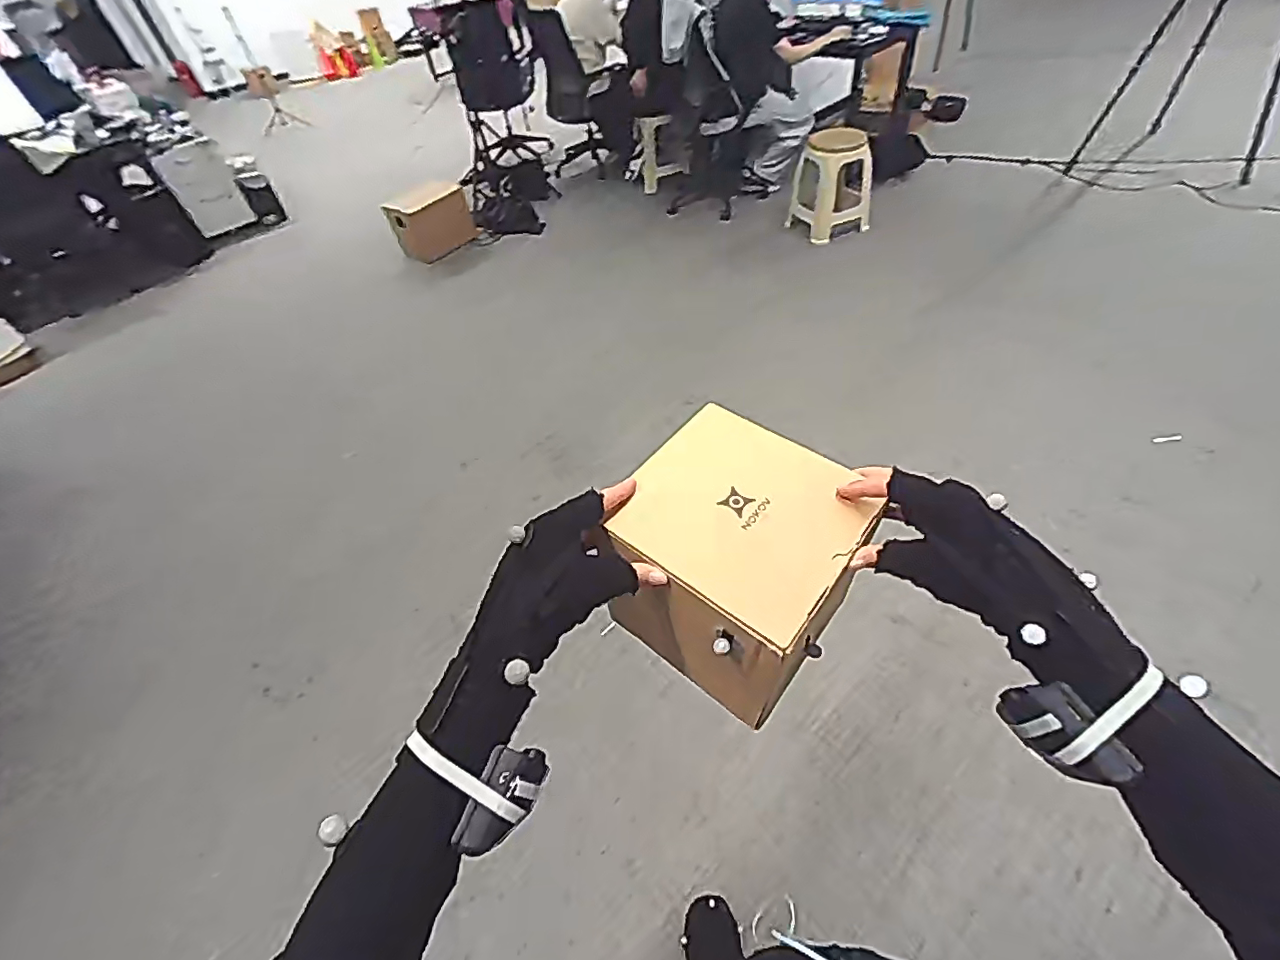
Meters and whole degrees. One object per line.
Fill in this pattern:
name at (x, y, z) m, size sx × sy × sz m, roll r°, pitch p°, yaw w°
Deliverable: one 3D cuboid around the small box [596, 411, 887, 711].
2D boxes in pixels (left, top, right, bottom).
small box at (0.082, 0.074, 0.490) m, size 0.179 × 0.176 × 0.168 m, roll 32°, pitch 58°, yaw 26°
